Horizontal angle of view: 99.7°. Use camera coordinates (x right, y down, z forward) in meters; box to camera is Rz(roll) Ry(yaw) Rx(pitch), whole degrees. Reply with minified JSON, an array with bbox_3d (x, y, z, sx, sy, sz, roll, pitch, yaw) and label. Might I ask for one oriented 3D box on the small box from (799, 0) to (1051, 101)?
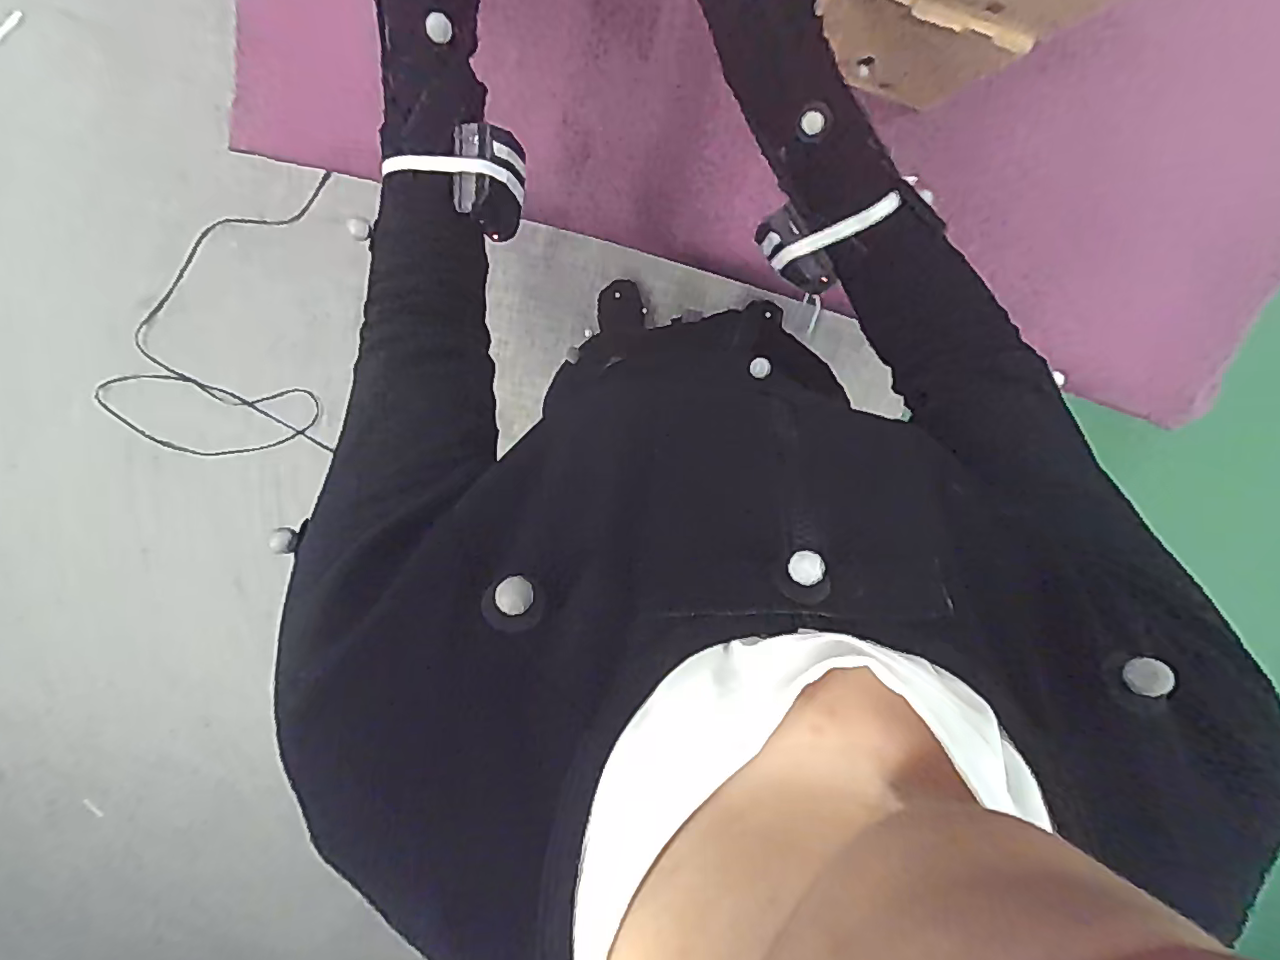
[{"bbox_3d":[0.261,-0.477,0.476,0.168,0.176,0.179,15,111,-6],"label":"small box"}]
